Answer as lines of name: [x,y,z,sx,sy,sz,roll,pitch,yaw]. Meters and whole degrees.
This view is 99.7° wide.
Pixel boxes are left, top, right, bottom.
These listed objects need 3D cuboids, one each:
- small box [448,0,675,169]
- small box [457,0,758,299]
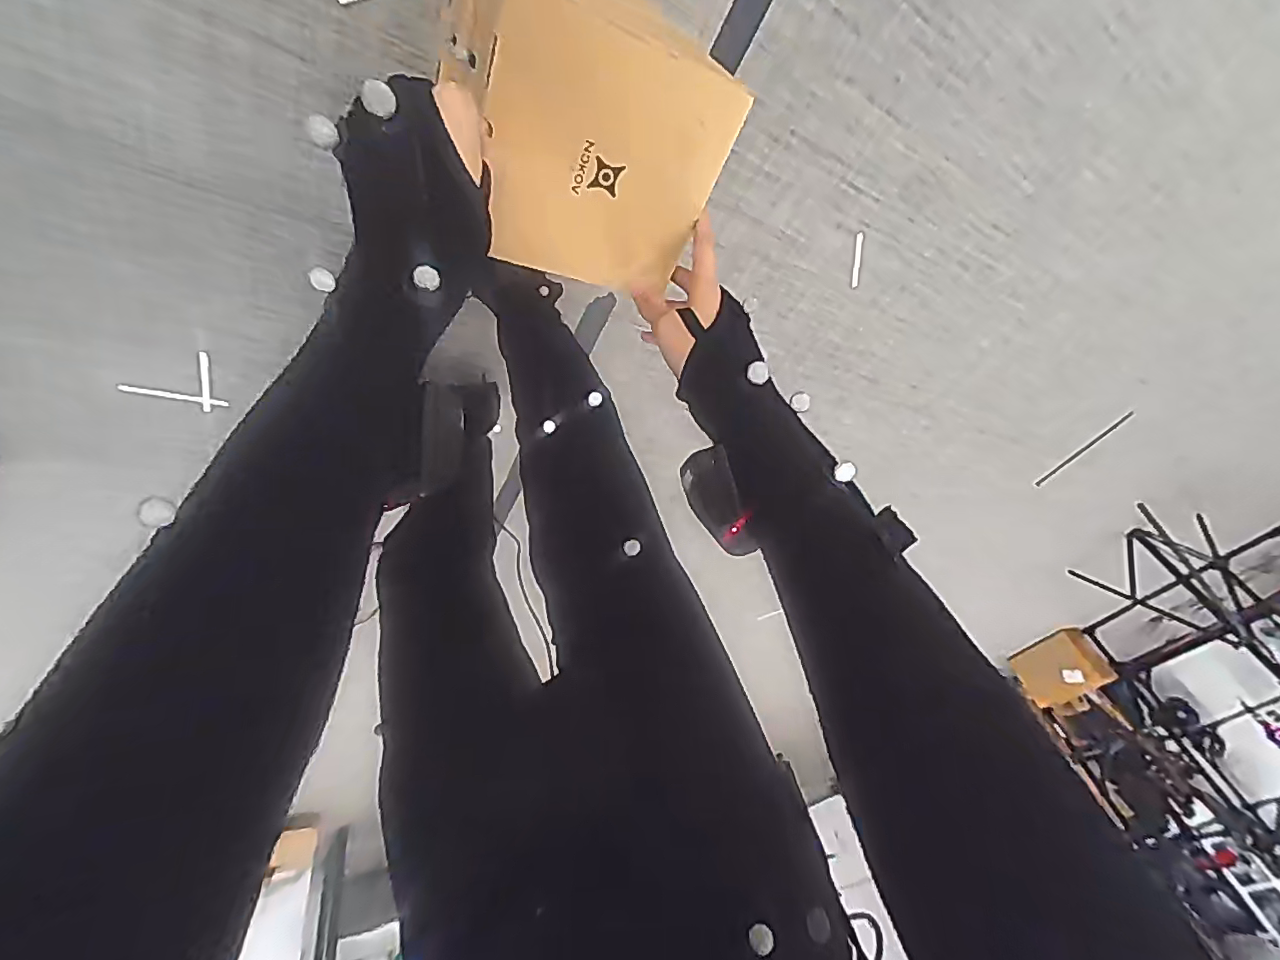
small box: [-0.092,-0.401,0.531,0.168,0.176,0.179,5,137,-26]
small box: [-0.043,-0.279,0.435,0.179,0.176,0.168,6,136,-26]
